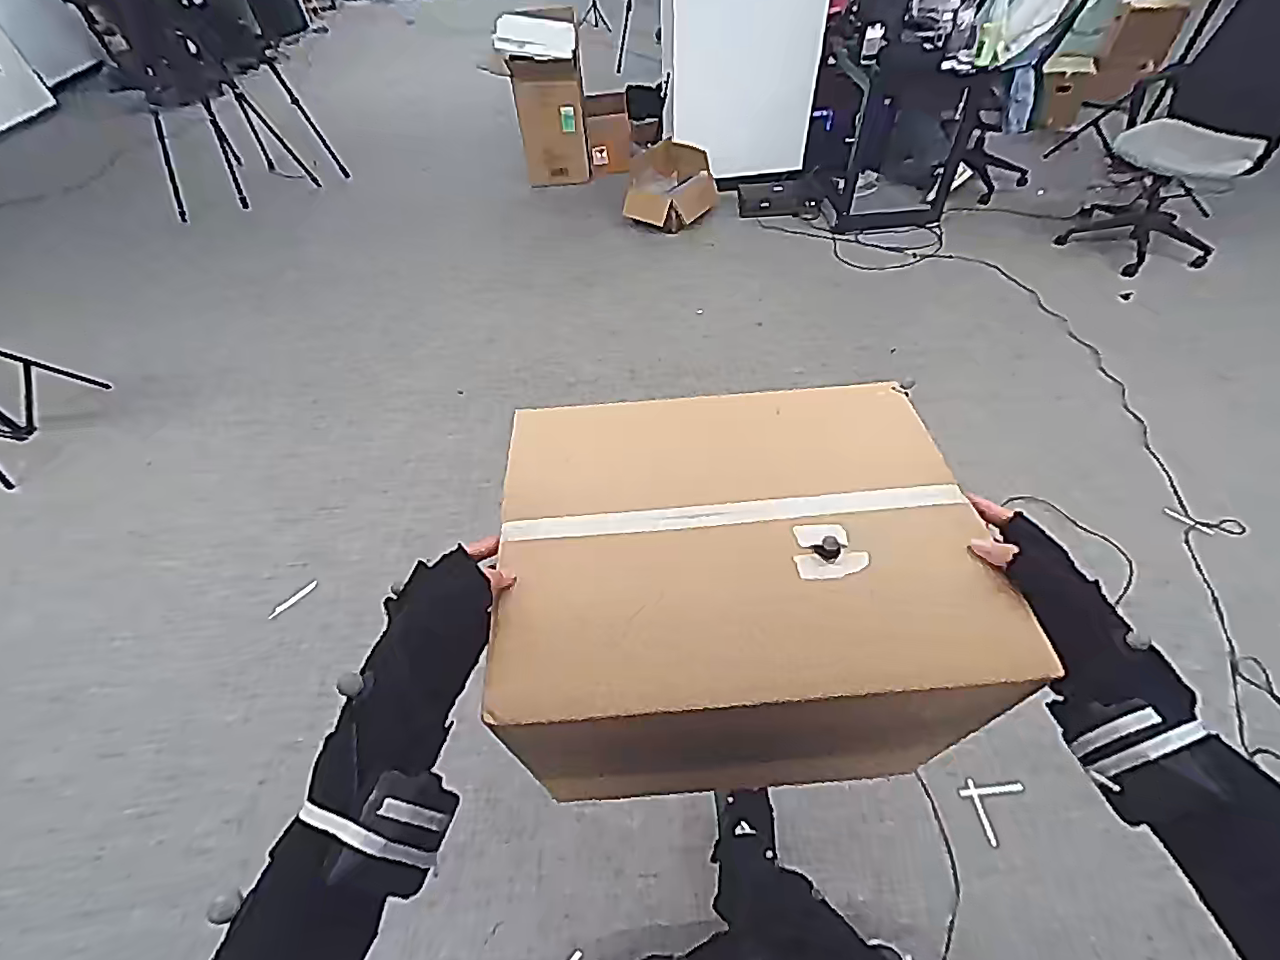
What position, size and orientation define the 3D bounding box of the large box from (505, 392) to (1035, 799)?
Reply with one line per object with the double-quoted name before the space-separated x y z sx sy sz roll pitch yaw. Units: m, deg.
"large box" 0.089 0.133 0.601 0.408 0.320 0.320 -5 51 -2
